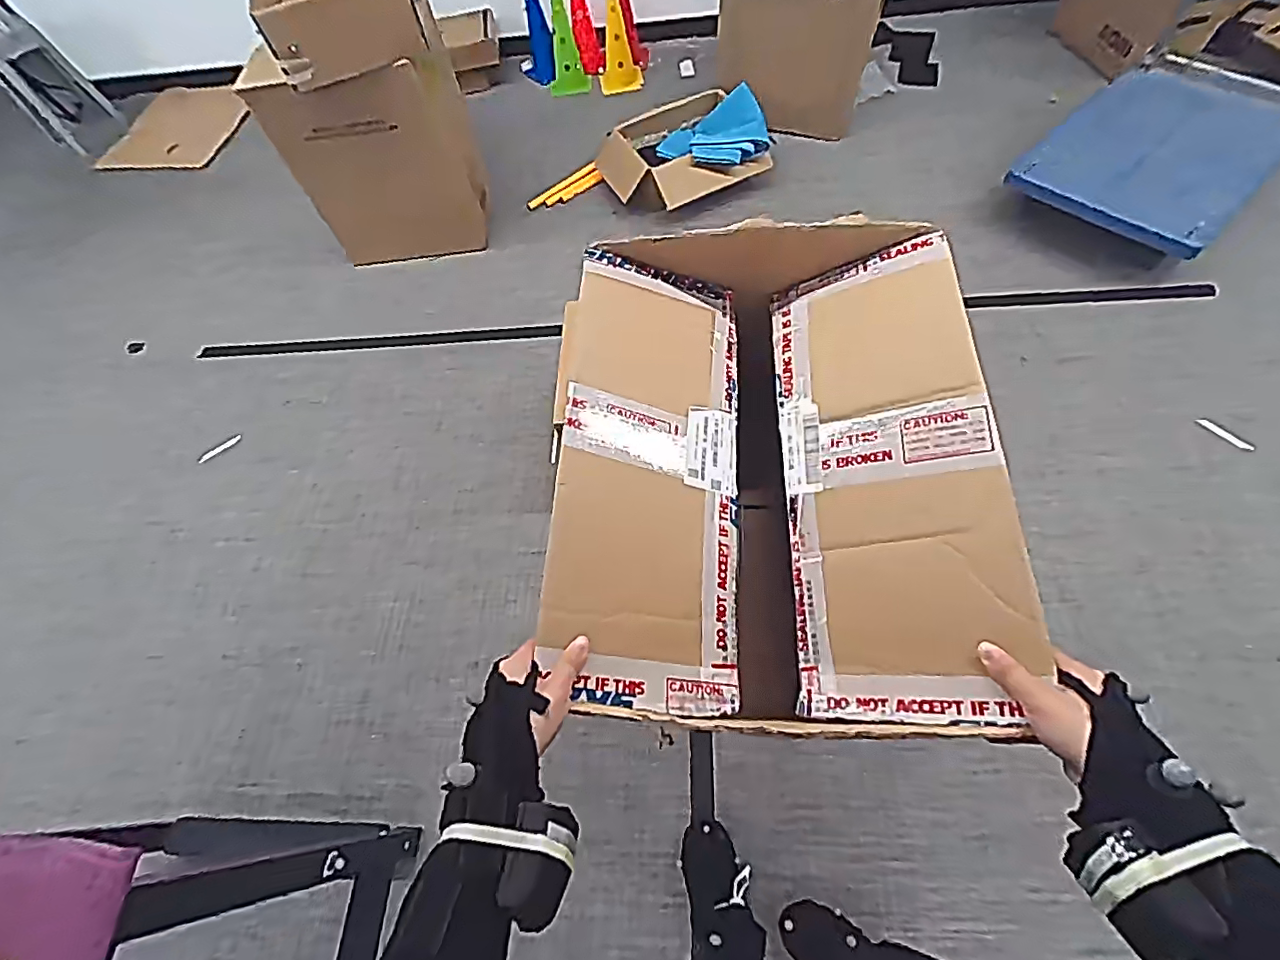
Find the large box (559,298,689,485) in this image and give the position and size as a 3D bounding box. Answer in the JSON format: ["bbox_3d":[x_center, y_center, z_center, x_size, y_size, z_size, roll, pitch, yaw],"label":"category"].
[{"bbox_3d":[-0.029,-0.234,1.484,0.320,0.320,0.408,-3,62,5],"label":"large box"}]
